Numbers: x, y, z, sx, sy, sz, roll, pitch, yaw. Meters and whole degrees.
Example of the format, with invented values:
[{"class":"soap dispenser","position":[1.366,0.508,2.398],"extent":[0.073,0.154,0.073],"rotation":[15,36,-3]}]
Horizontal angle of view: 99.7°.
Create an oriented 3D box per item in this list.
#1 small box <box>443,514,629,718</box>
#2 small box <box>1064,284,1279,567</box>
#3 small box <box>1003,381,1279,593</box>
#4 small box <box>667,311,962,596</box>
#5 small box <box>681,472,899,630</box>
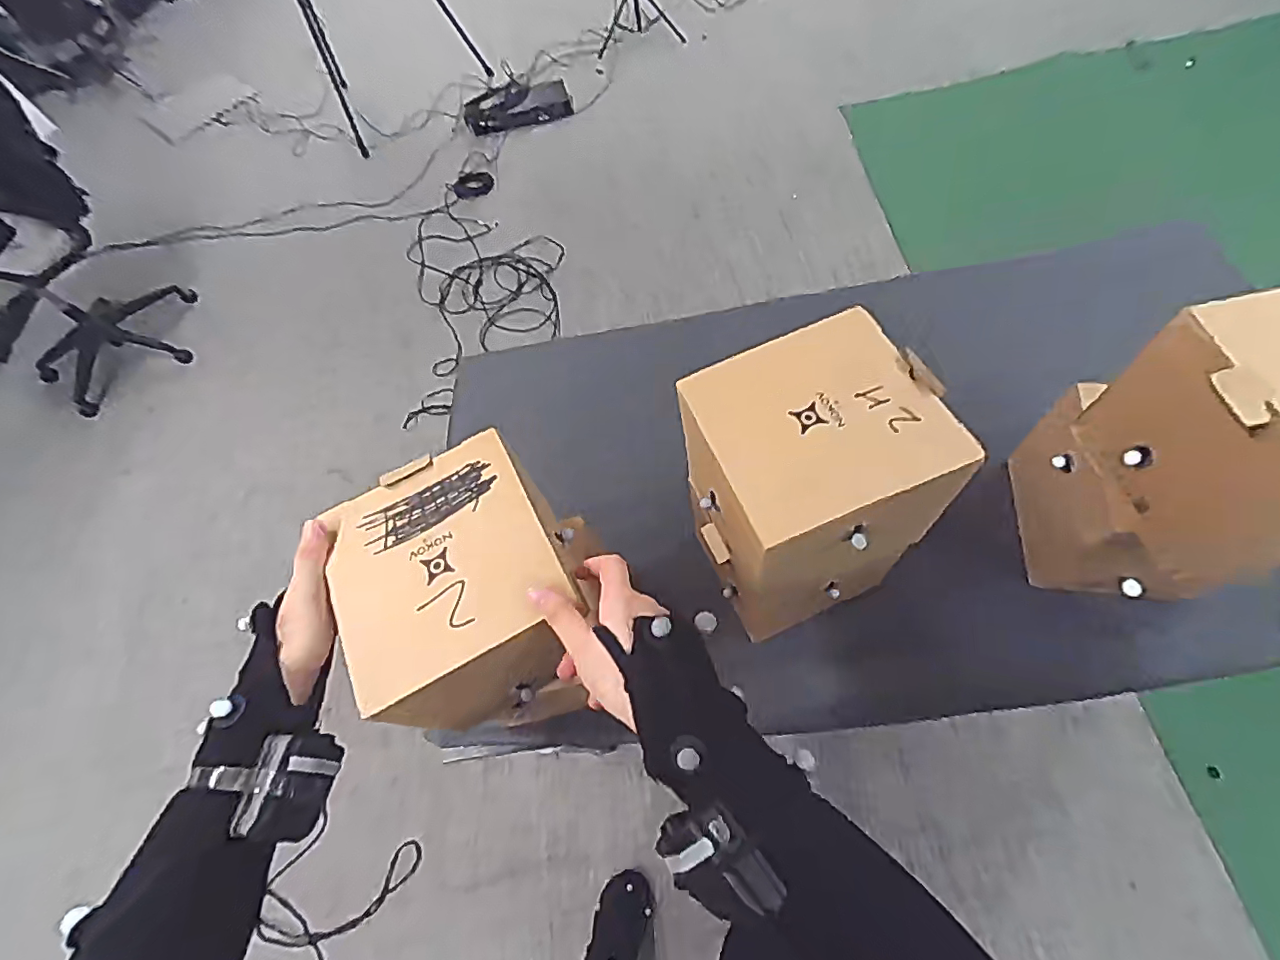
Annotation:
[{"class":"small box","position":[-0.117,0.166,0.636],"extent":[0.168,0.176,0.179],"rotation":[-15,62,2]},{"class":"small box","position":[0.513,-0.042,0.445],"extent":[0.179,0.176,0.168],"rotation":[-12,61,5]},{"class":"small box","position":[0.534,0.011,0.600],"extent":[0.168,0.176,0.179],"rotation":[3,64,13]},{"class":"small box","position":[0.142,-0.013,0.497],"extent":[0.179,0.176,0.168],"rotation":[-22,62,-3]},{"class":"small box","position":[0.167,0.059,0.644],"extent":[0.179,0.176,0.168],"rotation":[-25,62,-4]}]
